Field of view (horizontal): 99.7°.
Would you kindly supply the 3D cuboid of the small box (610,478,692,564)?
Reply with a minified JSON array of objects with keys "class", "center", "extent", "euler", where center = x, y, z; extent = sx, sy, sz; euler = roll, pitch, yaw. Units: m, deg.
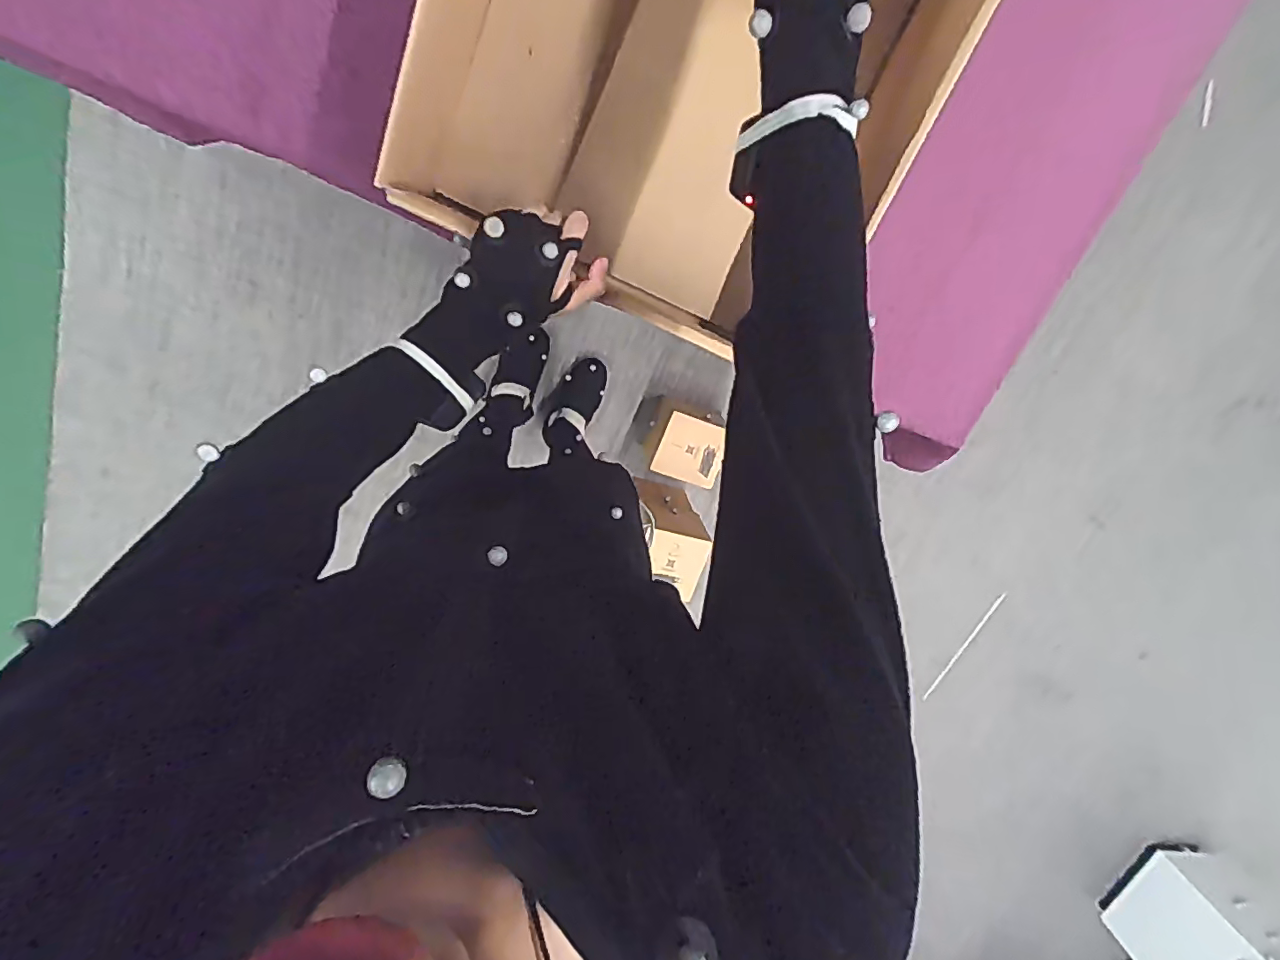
[{"class":"small box","center":[0.022,0.108,1.508],"extent":[0.179,0.176,0.168],"euler":[15,110,-13]}]
